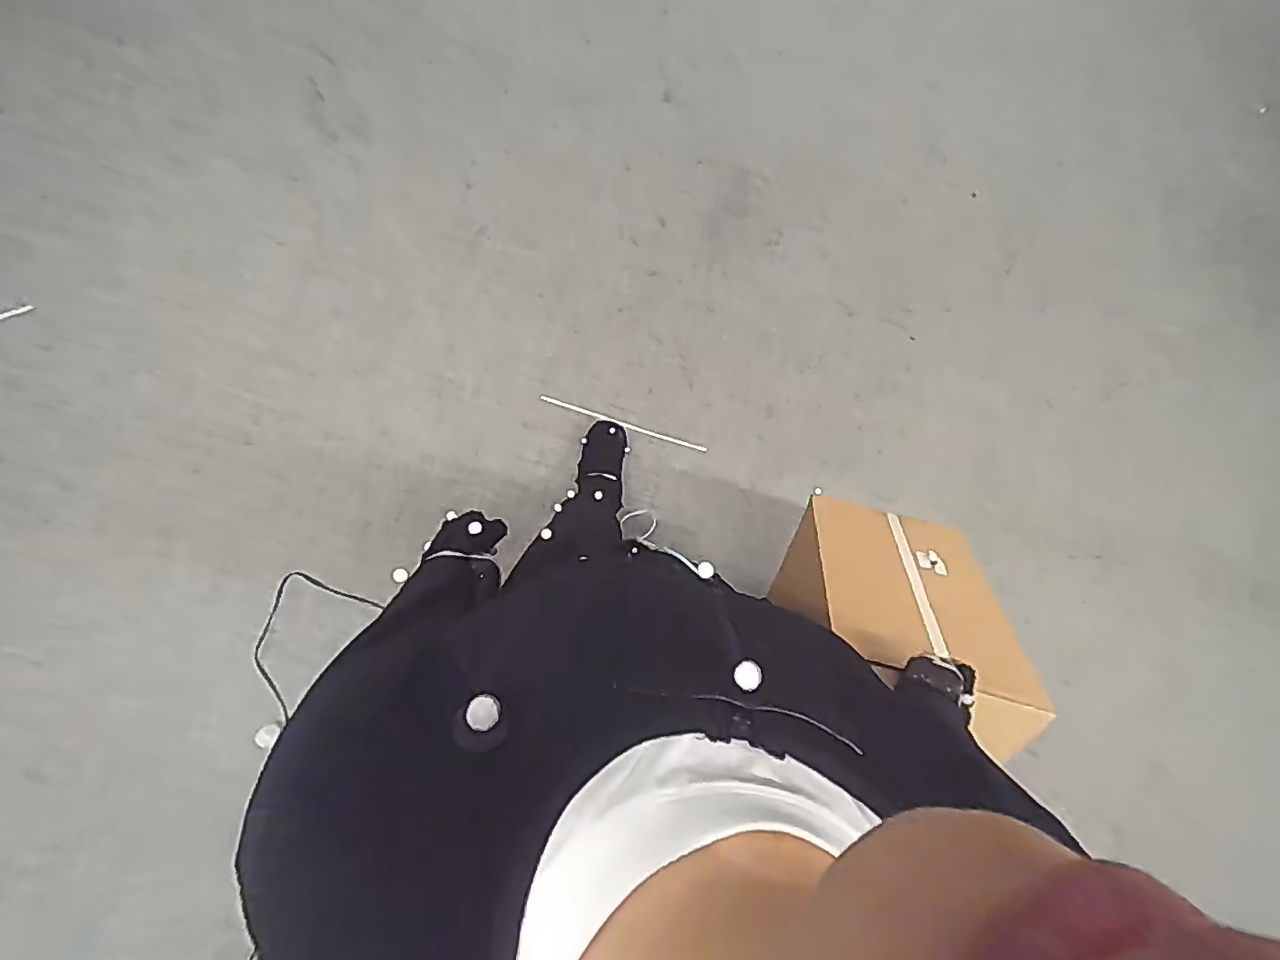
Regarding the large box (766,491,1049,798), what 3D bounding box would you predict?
[{"bbox_3d":[0.429,0.283,0.999,0.320,0.408,0.320,15,124,3],"label":"large box"}]
